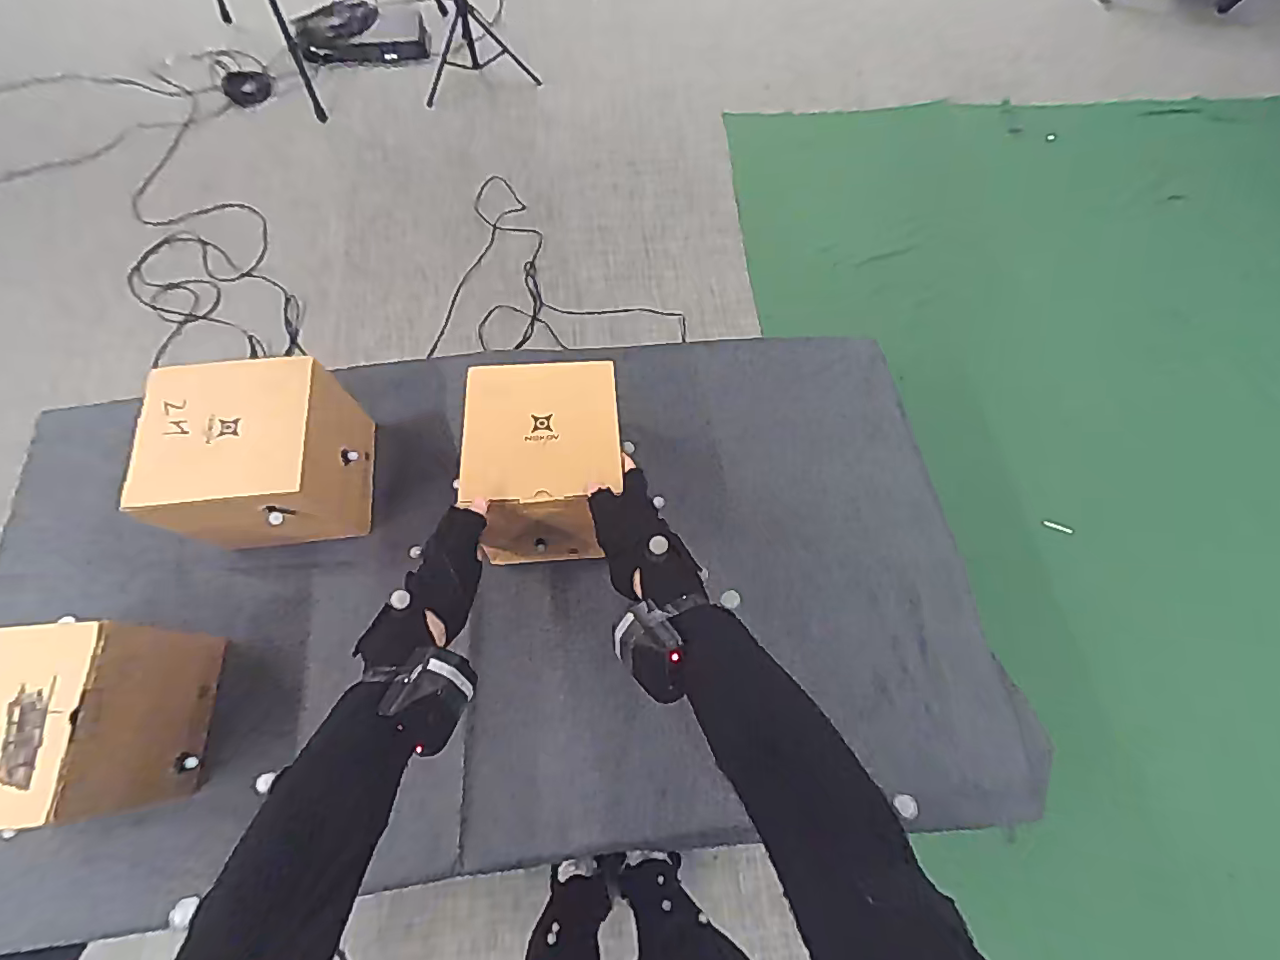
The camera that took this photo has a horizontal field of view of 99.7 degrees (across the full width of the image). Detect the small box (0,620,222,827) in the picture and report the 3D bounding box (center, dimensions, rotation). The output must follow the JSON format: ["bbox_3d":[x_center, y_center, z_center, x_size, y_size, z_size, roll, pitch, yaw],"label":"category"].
[{"bbox_3d":[-0.570,0.236,0.539,0.179,0.176,0.168,-3,68,-3],"label":"small box"}]

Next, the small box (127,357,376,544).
[{"bbox_3d":[-0.437,-0.027,0.647,0.179,0.176,0.168,-5,69,-4],"label":"small box"}]

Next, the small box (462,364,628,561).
[{"bbox_3d":[-0.105,-0.017,0.643,0.168,0.176,0.179,-3,62,-5],"label":"small box"}]
